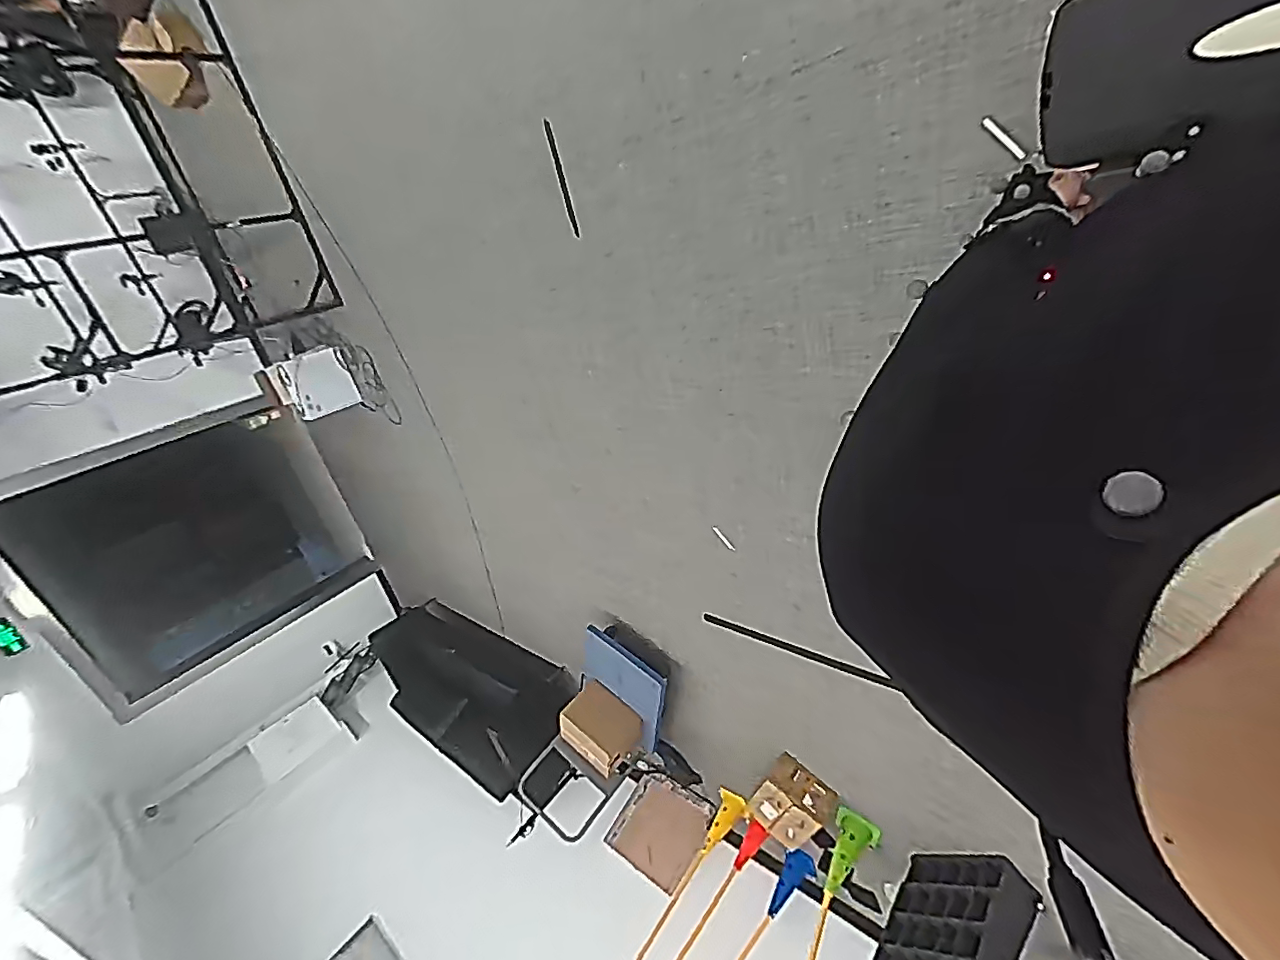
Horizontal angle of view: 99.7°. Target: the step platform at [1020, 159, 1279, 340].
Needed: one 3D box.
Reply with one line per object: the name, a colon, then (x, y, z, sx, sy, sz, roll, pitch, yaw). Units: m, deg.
step platform: (1.078, -0.403, 0.938, 0.684, 0.204, 0.286, 16, 126, 40)
